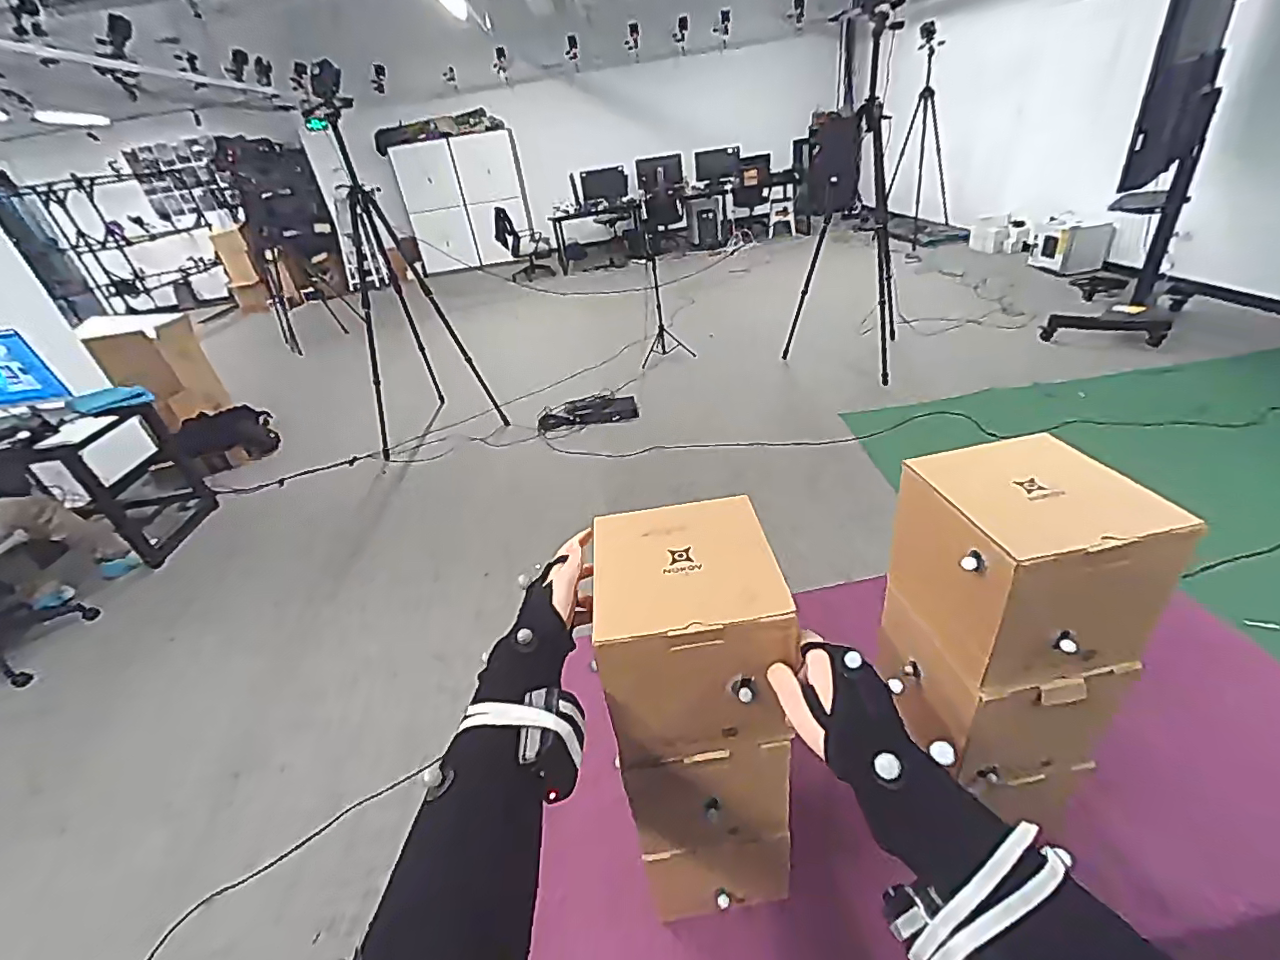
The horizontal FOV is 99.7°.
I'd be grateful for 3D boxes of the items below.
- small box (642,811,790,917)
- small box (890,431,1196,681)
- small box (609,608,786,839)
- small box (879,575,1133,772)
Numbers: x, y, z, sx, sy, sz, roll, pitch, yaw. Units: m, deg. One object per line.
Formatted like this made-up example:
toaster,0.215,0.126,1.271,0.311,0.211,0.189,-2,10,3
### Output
small box,0.087,0.420,0.705,0.168,0.176,0.179,-11,32,-1
small box,0.381,0.072,0.557,0.168,0.176,0.179,-11,32,-3
small box,0.063,0.281,0.621,0.168,0.176,0.179,-10,32,-1
small box,0.404,0.214,0.635,0.168,0.176,0.179,-11,31,-2
